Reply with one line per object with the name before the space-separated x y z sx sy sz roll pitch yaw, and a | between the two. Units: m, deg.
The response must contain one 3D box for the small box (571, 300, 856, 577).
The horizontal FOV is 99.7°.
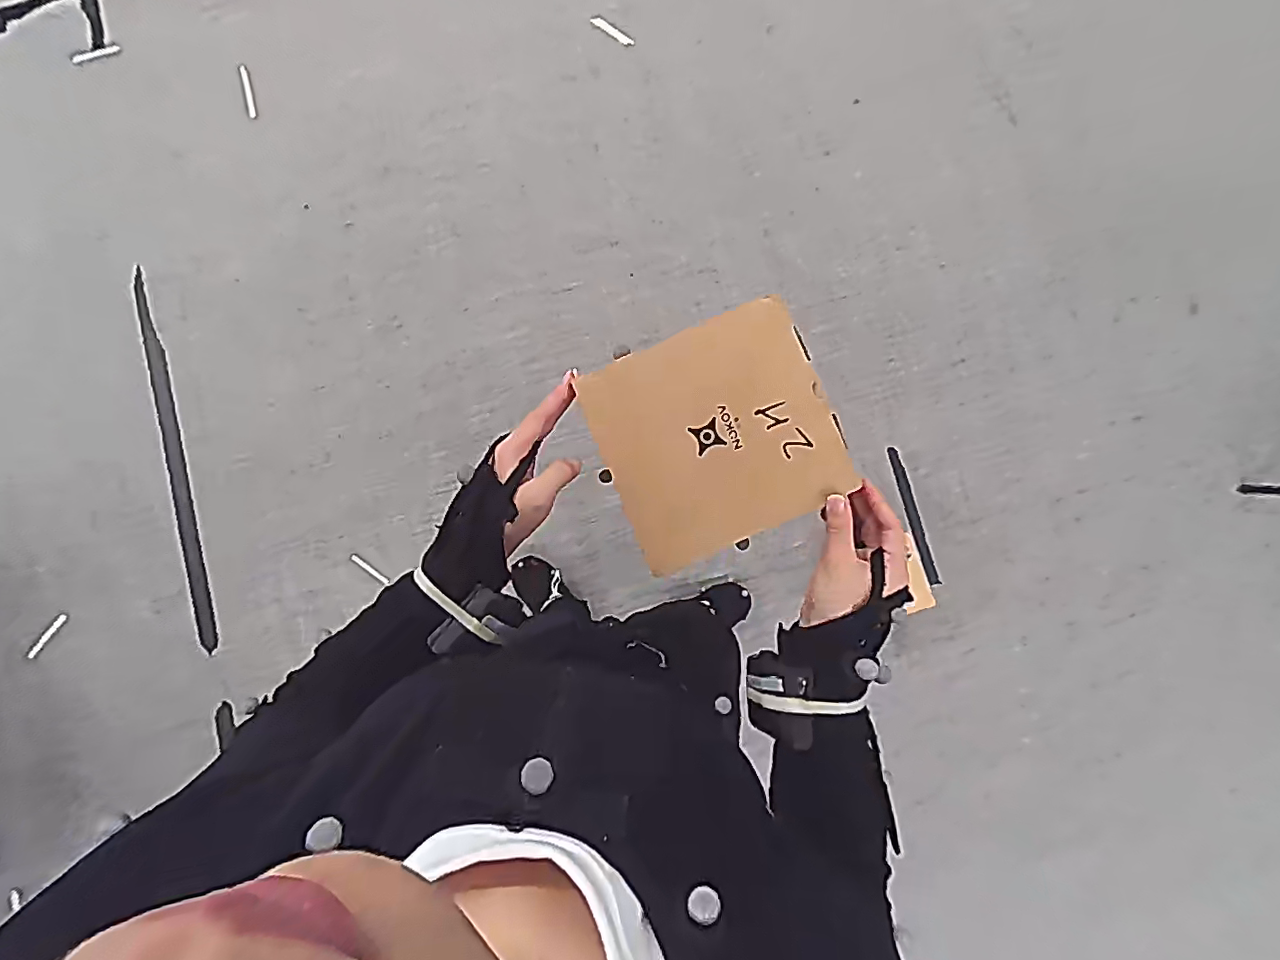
small box | 0.058 -0.033 0.492 0.179 0.176 0.168 -24 92 1
